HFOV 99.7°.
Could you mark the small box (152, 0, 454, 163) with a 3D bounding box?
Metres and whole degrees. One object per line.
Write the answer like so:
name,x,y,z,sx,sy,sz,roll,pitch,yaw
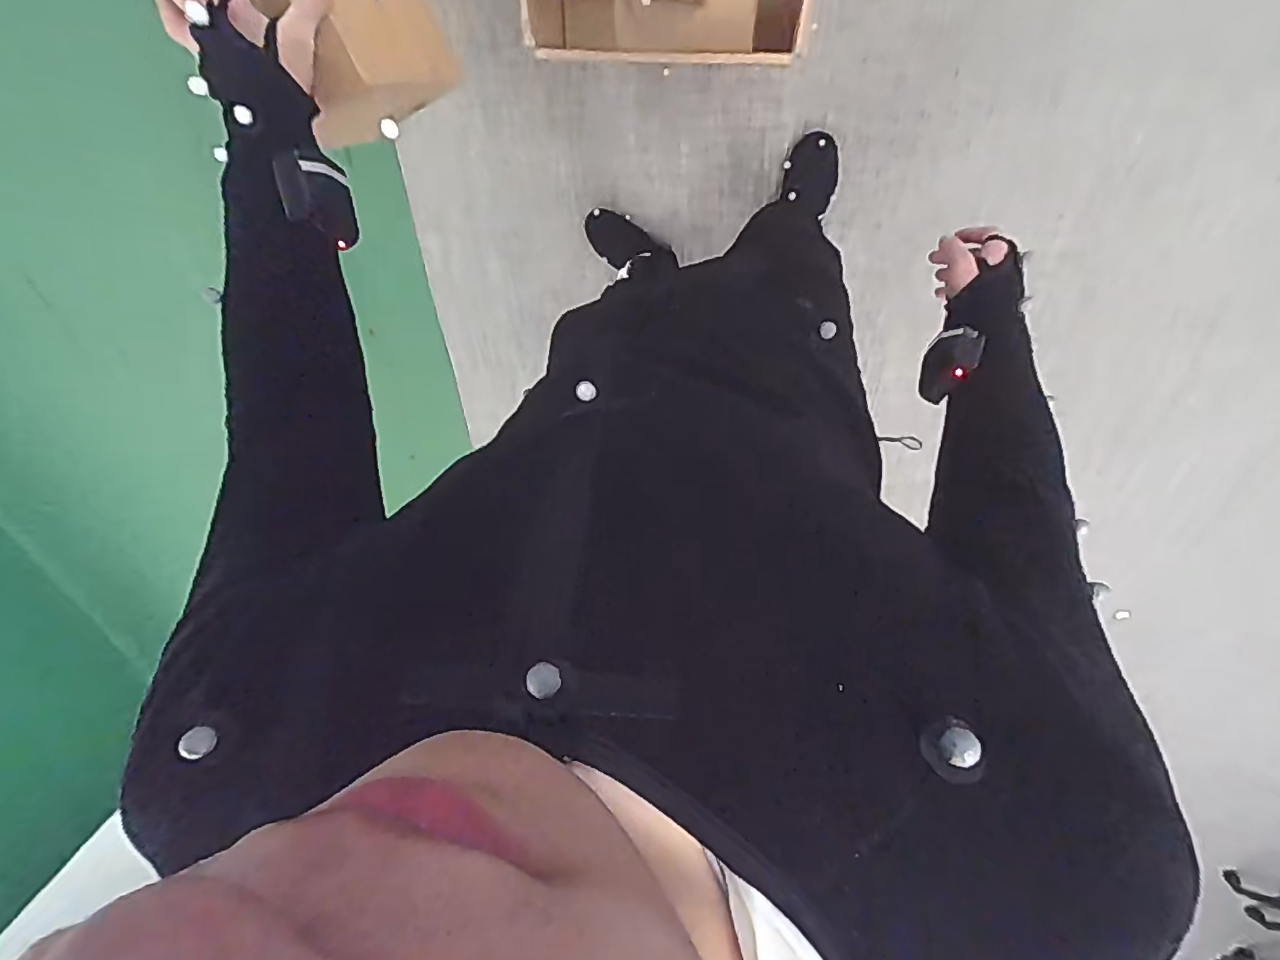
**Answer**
small box,-0.329,-0.452,0.545,0.168,0.176,0.179,-9,122,26
